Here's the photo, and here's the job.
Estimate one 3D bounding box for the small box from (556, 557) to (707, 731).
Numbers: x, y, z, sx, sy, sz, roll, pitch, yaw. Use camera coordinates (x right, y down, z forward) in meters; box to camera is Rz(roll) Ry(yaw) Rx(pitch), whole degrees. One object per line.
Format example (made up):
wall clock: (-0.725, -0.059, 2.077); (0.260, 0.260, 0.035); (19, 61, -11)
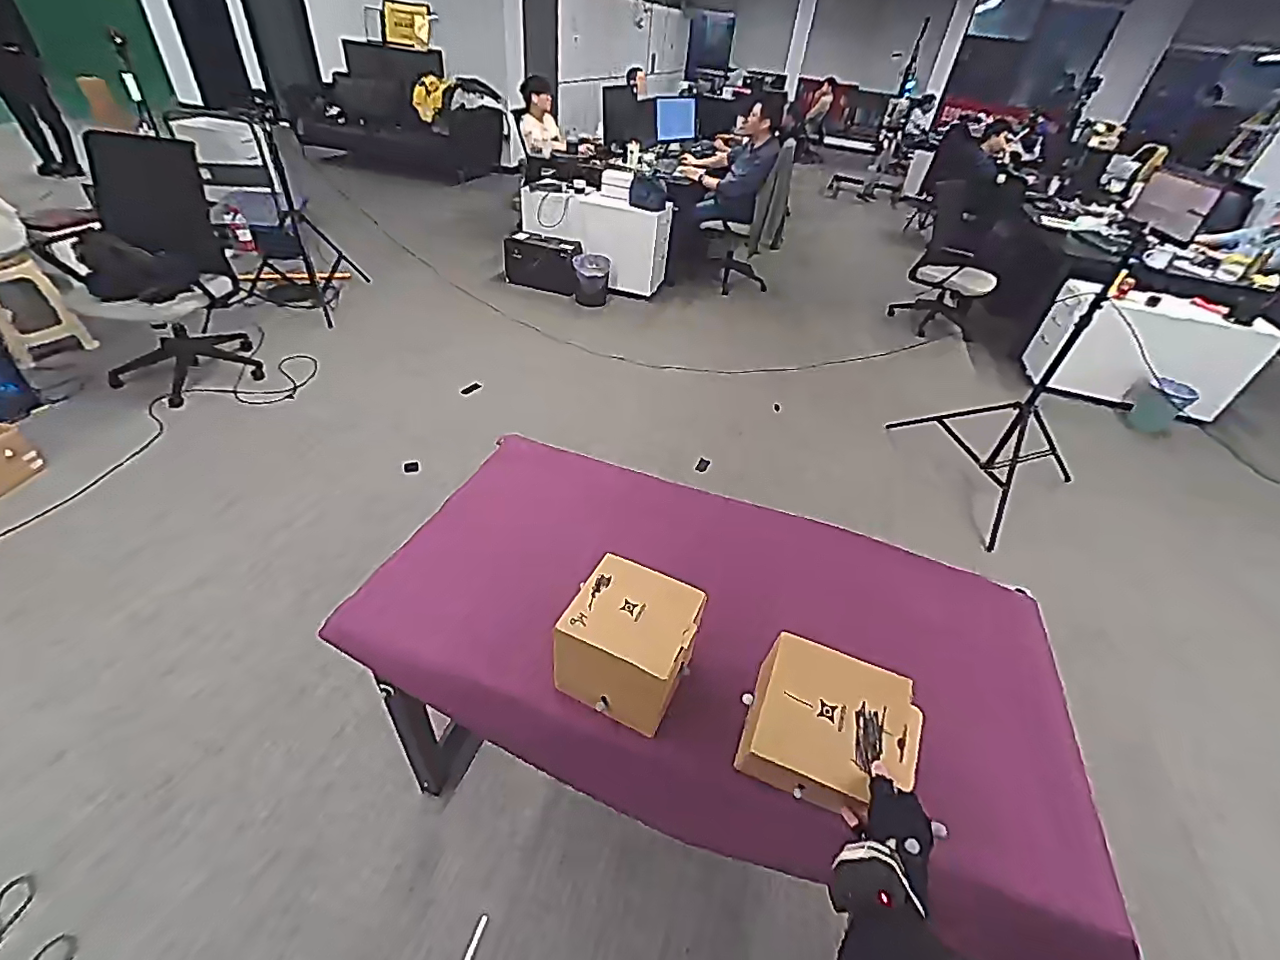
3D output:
small box: (-0.016, 0.259, 0.846); (0.179, 0.176, 0.168); (21, 40, 15)

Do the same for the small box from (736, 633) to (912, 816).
small box: (0.247, 0.343, 0.750); (0.179, 0.176, 0.168); (18, 57, 14)
